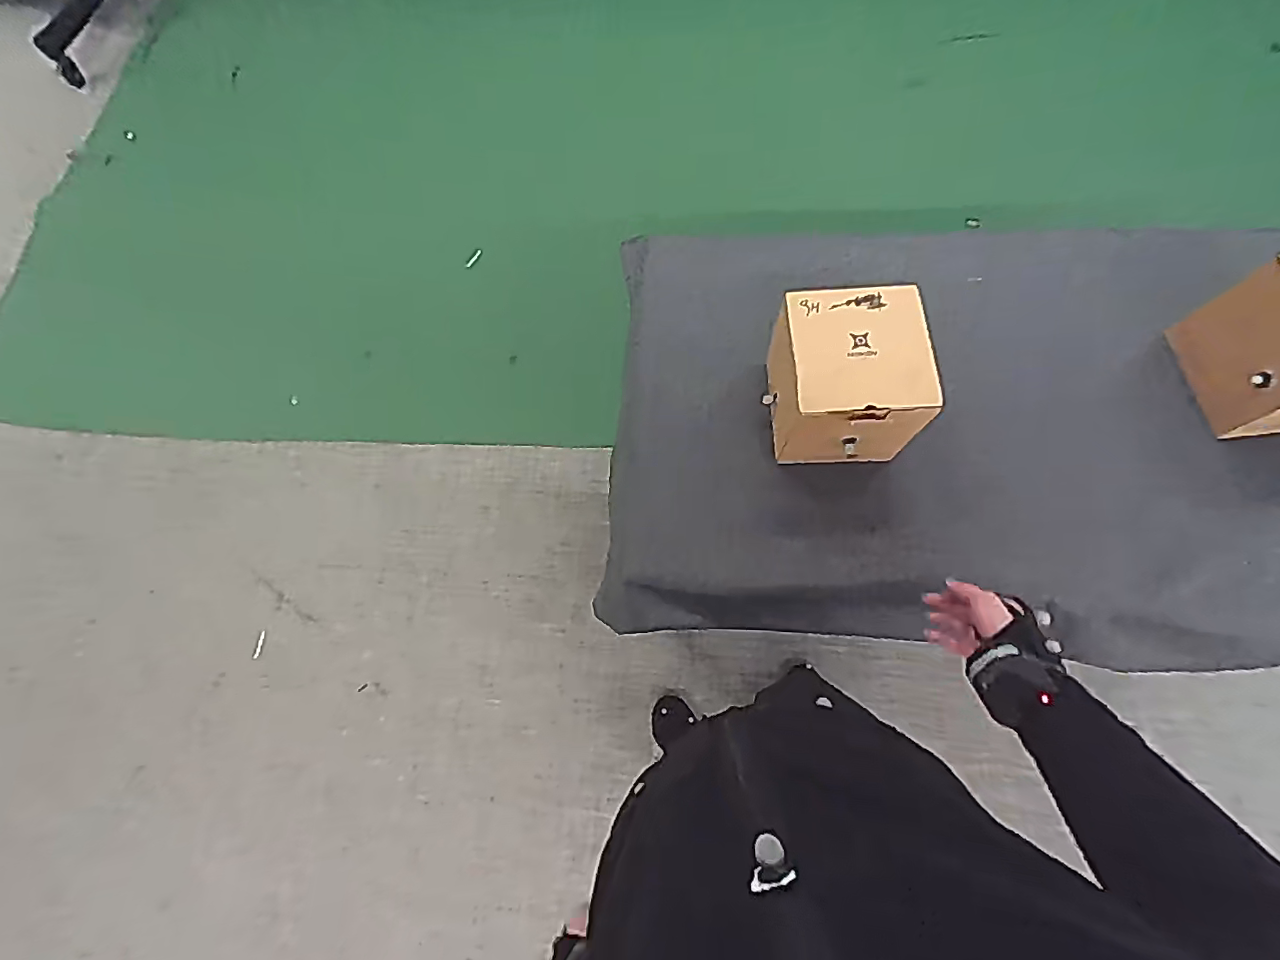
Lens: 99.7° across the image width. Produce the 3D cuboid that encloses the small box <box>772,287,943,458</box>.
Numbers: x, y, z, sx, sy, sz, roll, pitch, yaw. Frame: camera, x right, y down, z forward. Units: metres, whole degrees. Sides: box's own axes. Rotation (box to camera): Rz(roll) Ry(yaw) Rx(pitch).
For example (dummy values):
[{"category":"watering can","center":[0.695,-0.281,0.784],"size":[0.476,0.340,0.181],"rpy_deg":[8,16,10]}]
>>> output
[{"category":"small box","center":[0.279,-0.134,0.735],"size":[0.168,0.176,0.179],"rpy_deg":[-1,71,4]}]

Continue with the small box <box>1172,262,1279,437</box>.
[{"category":"small box","center":[0.867,-0.164,0.698],"size":[0.168,0.176,0.179],"rpy_deg":[-5,69,2]}]
